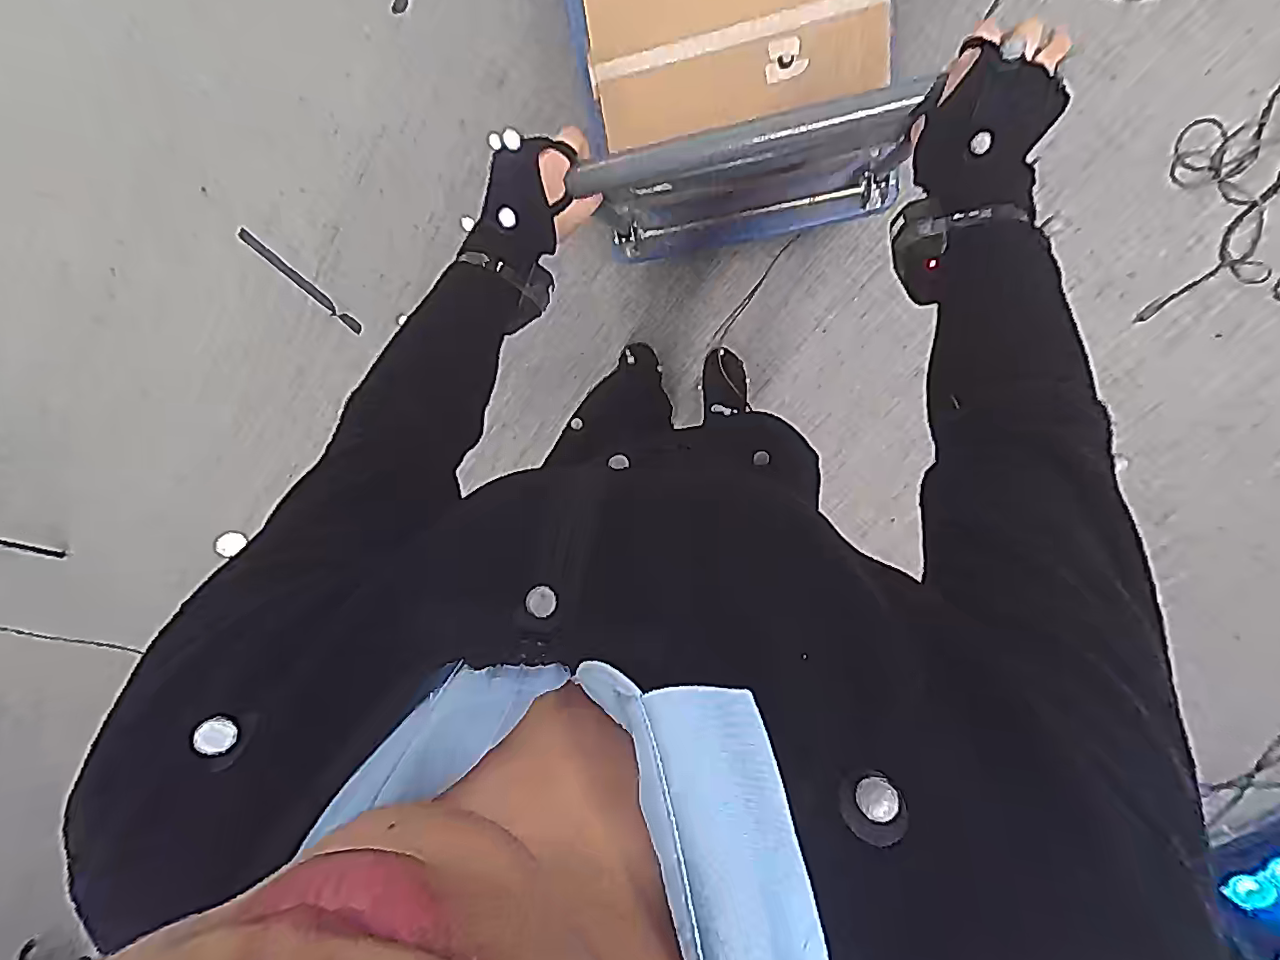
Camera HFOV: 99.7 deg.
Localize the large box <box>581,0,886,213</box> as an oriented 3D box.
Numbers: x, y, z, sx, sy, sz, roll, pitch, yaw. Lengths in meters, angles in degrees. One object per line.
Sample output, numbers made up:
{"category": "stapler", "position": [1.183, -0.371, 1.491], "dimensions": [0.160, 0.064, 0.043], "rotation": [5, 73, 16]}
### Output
{"category": "large box", "position": [0.149, -0.663, 0.893], "dimensions": [0.408, 0.320, 0.320], "rotation": [-7, 111, 11]}
